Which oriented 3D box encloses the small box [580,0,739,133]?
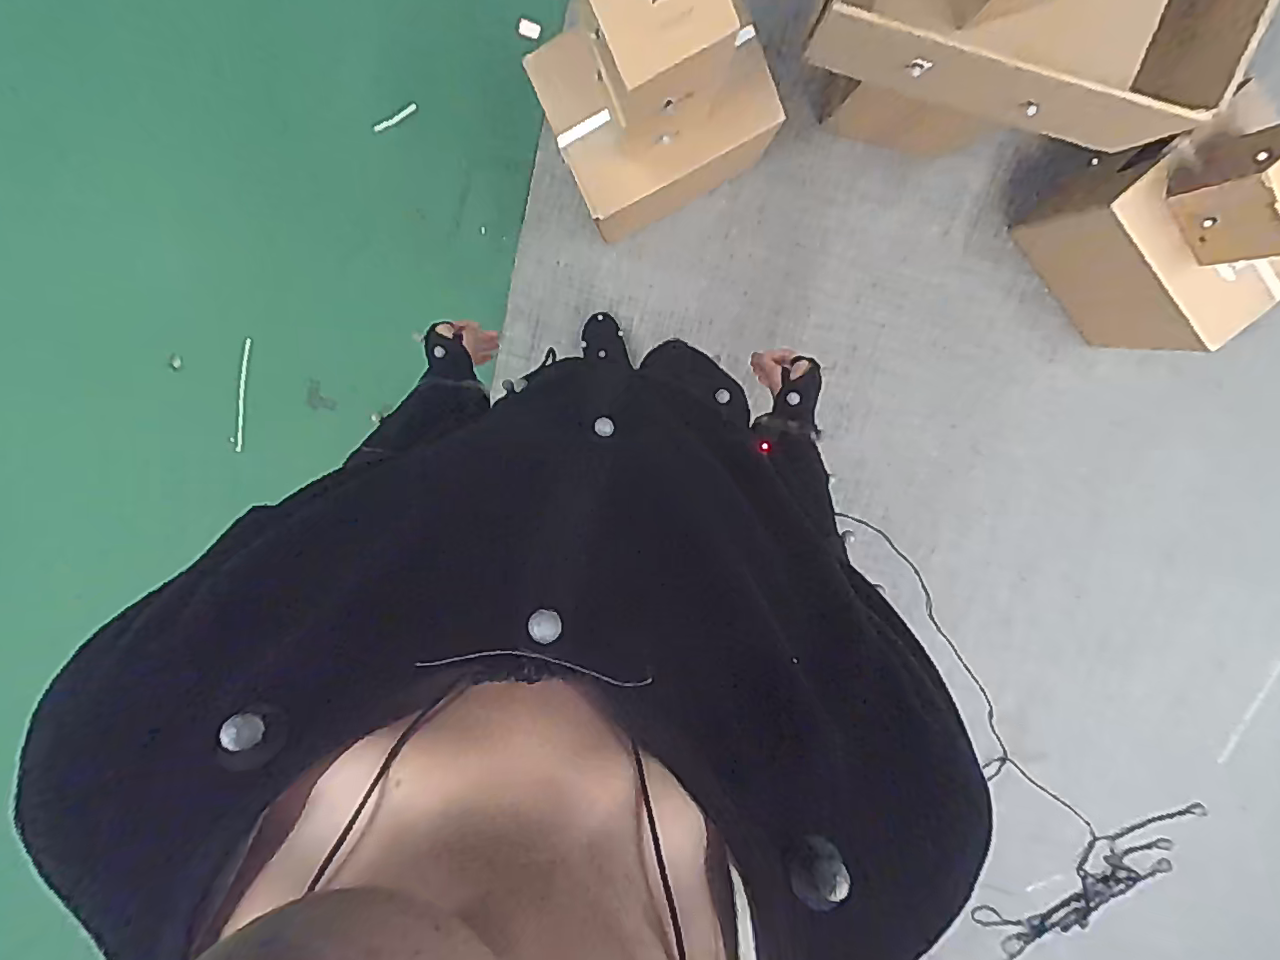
[{"bbox_3d":[0.020,-0.637,0.761,0.168,0.176,0.179,-24,104,8],"label":"small box"}]

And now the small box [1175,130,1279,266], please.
[{"bbox_3d":[1.132,-0.508,0.957,0.179,0.176,0.168,-40,102,9],"label":"small box"}]

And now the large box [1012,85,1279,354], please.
[{"bbox_3d":[1.157,-0.537,1.202,0.320,0.320,0.408,-44,102,11],"label":"large box"}]

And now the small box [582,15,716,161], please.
[{"bbox_3d":[0.015,-0.683,0.917,0.168,0.176,0.179,-21,104,7],"label":"small box"}]
